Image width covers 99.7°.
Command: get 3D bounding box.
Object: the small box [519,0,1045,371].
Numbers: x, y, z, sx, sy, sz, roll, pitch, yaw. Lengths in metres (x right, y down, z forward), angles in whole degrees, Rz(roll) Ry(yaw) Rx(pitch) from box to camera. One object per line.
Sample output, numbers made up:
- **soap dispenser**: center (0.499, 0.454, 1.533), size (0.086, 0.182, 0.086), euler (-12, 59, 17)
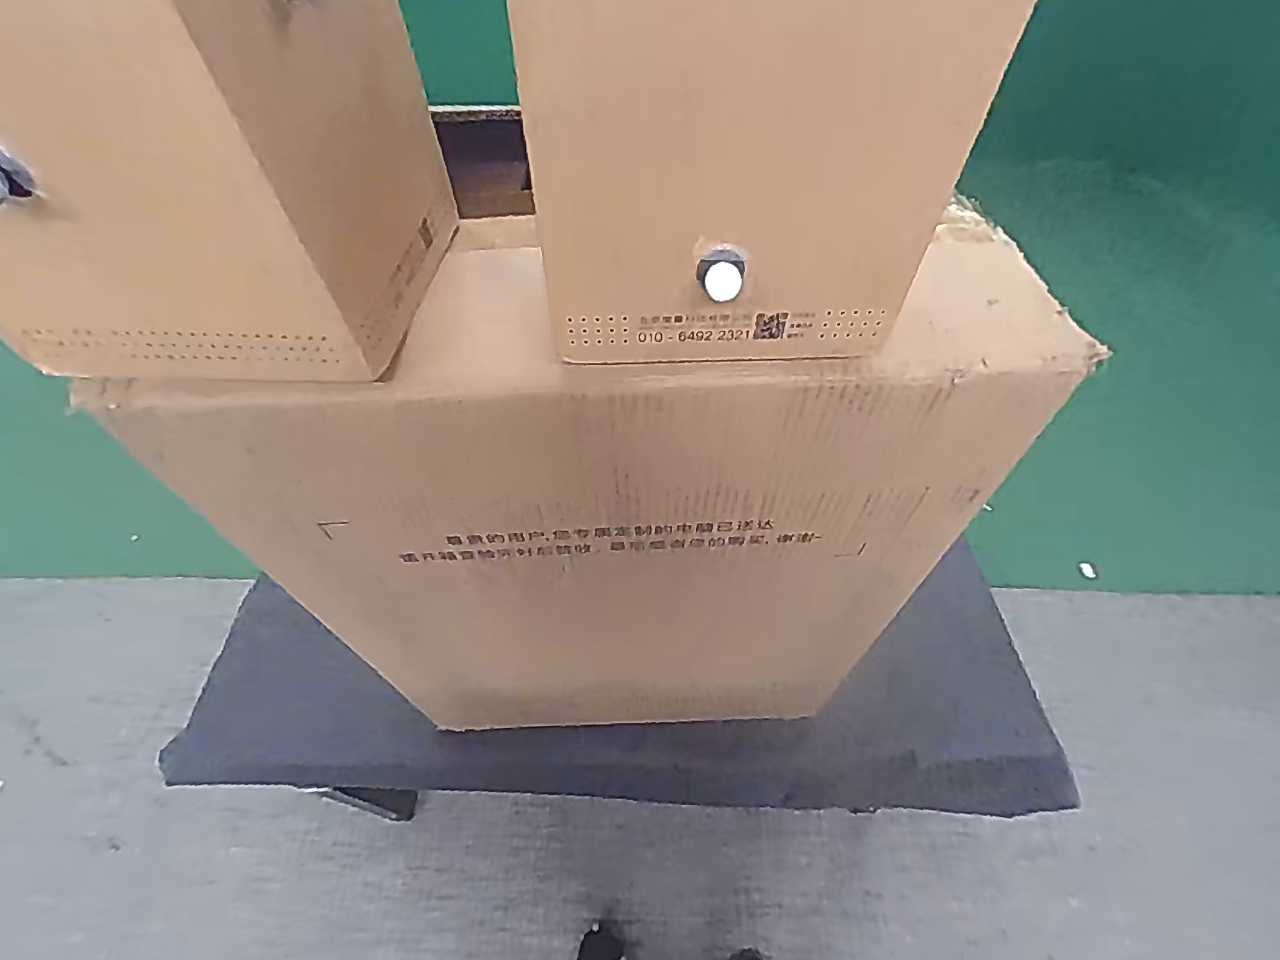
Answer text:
- **small box**: center (0.039, -0.173, 0.262), size (0.168, 0.176, 0.179), euler (-2, 53, -1)
